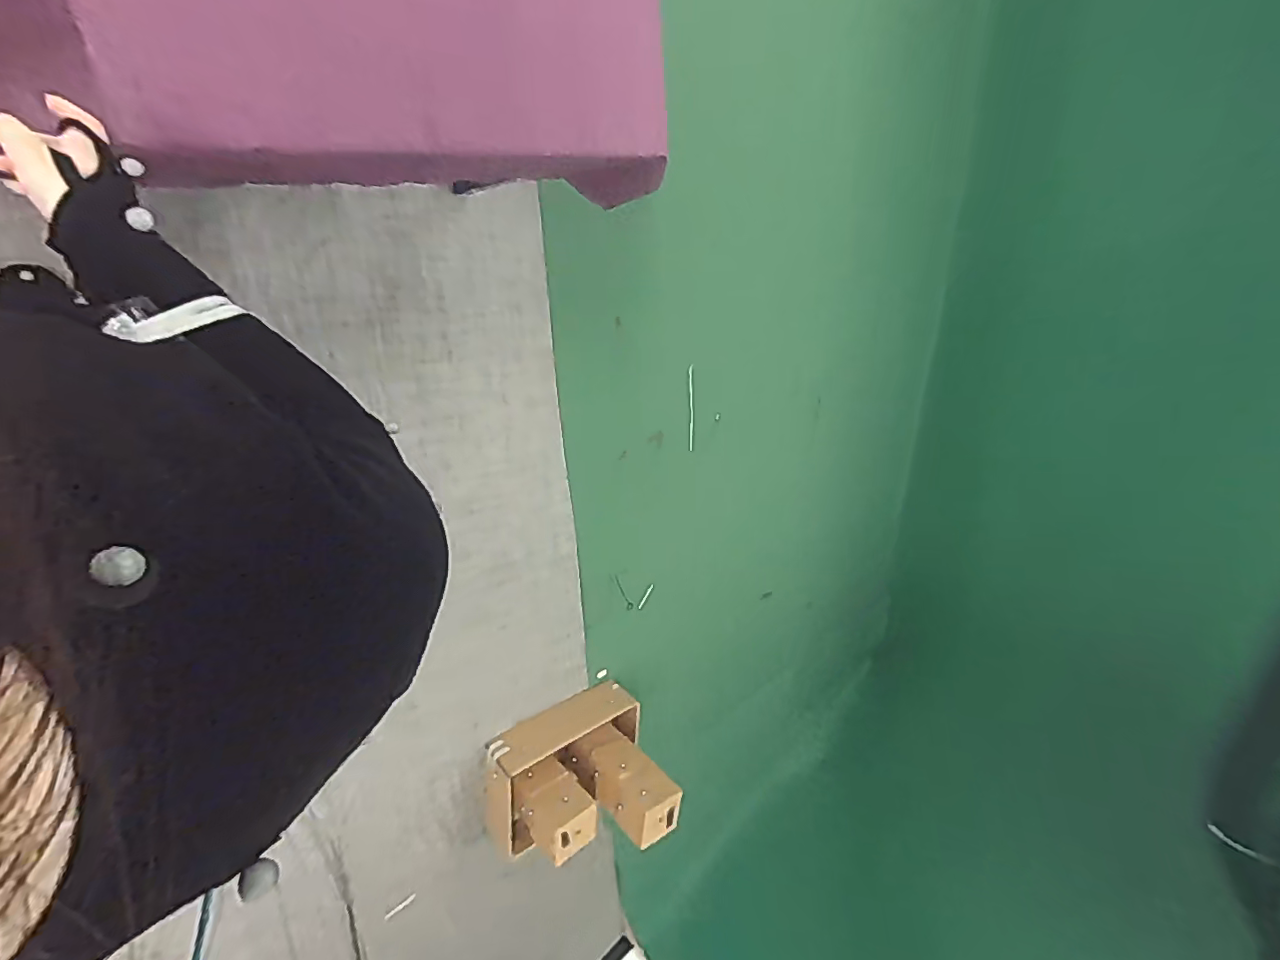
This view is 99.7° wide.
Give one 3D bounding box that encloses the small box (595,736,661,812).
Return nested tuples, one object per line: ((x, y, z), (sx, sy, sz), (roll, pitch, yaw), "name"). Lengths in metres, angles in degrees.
((-0.049, 1.126, 2.089), (0.179, 0.176, 0.168), (2, 103, -40), "small box")

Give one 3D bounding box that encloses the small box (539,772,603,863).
((-0.249, 1.192, 1.922), (0.179, 0.176, 0.168), (-14, 113, -41), "small box")
